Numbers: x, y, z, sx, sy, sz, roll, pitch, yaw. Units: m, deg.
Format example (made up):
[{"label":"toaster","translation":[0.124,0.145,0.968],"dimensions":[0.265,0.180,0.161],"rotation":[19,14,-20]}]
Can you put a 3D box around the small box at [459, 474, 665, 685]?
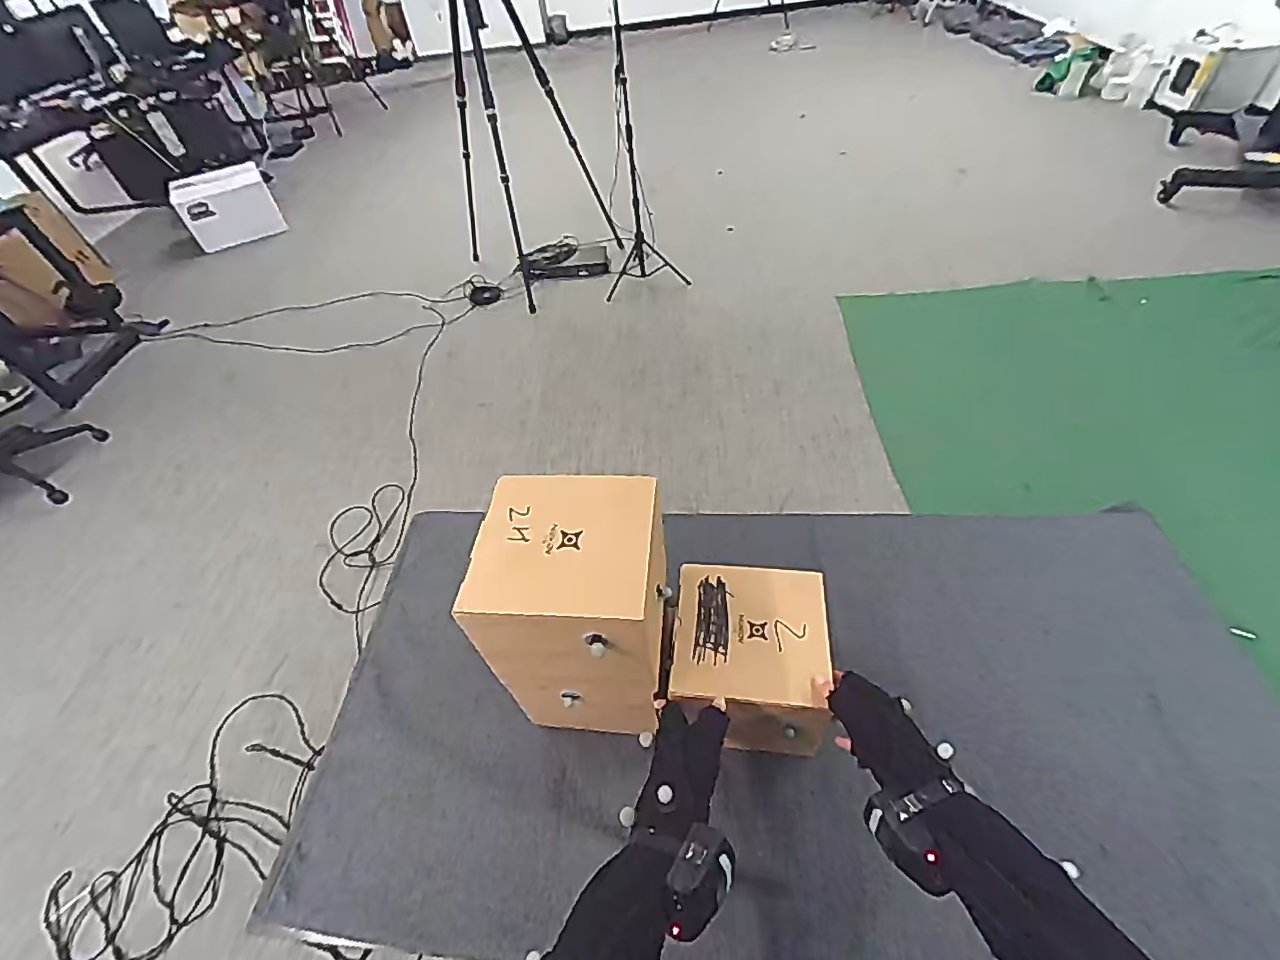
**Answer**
[{"label":"small box","translation":[-0.065,0.111,0.590],"dimensions":[0.179,0.176,0.168],"rotation":[1,48,7]}]
